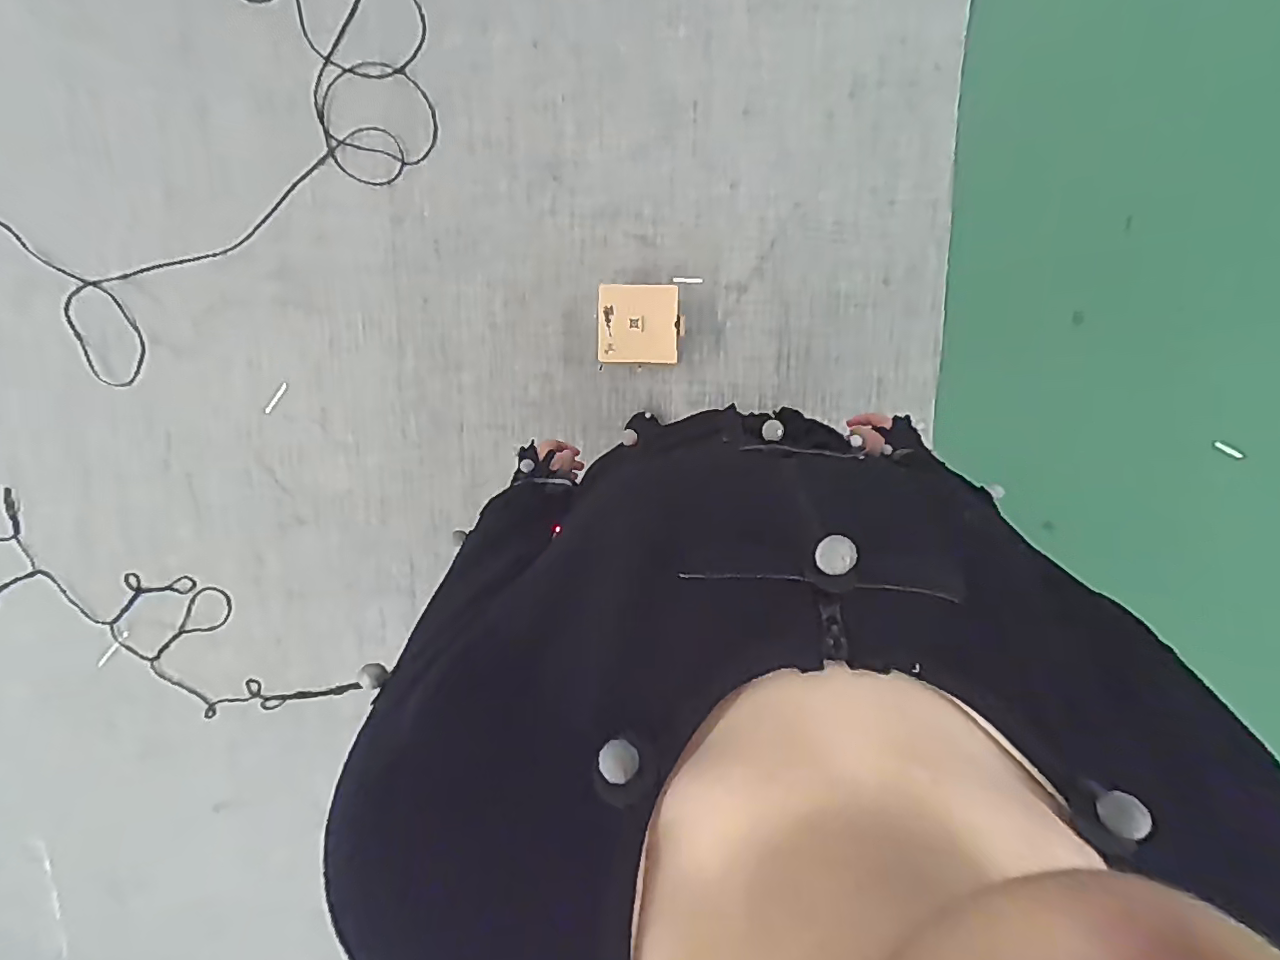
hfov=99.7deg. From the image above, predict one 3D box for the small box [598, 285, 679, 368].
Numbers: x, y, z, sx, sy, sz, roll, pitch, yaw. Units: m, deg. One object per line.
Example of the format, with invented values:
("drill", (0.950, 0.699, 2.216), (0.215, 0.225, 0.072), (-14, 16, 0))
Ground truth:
("small box", (-0.002, -0.349, 1.248), (0.179, 0.176, 0.168), (1, 99, 2))
